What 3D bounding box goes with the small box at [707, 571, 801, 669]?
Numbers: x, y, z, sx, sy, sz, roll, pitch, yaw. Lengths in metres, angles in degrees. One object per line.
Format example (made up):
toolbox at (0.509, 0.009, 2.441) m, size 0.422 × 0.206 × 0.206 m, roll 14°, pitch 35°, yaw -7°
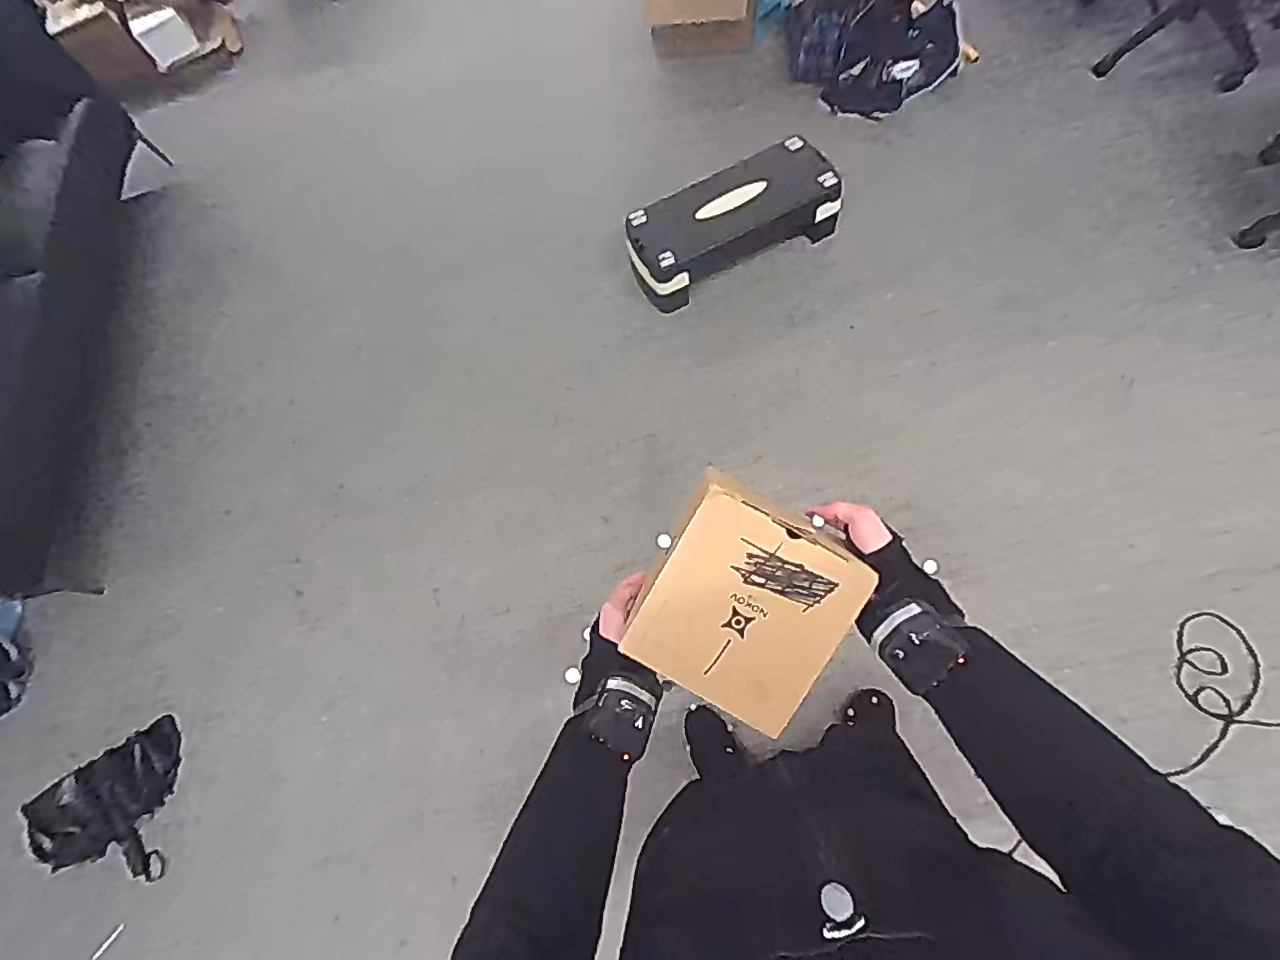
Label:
small box at (0.283, 0.356, 1.354) m, size 0.168 × 0.176 × 0.179 m, roll 28°, pitch 75°, yaw 17°
